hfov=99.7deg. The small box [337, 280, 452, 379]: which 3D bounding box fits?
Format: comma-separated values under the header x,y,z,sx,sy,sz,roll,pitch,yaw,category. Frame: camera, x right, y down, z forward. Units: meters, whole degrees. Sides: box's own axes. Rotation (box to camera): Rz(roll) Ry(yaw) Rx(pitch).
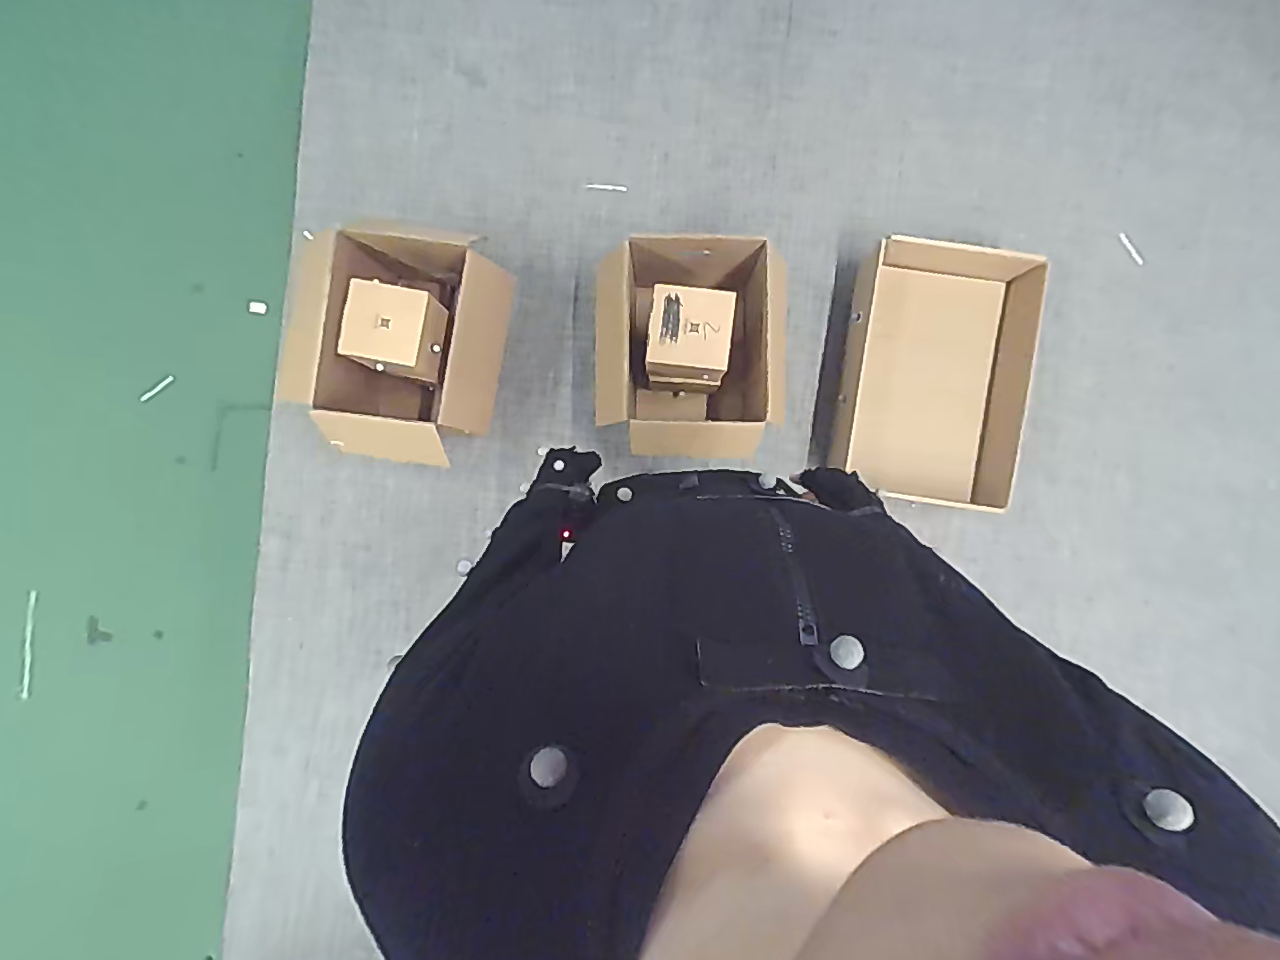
x,y,z,sx,sy,sz,roll,pitch,yaw,category
-0.551,-0.335,1.240,0.179,0.176,0.168,10,89,1,small box
